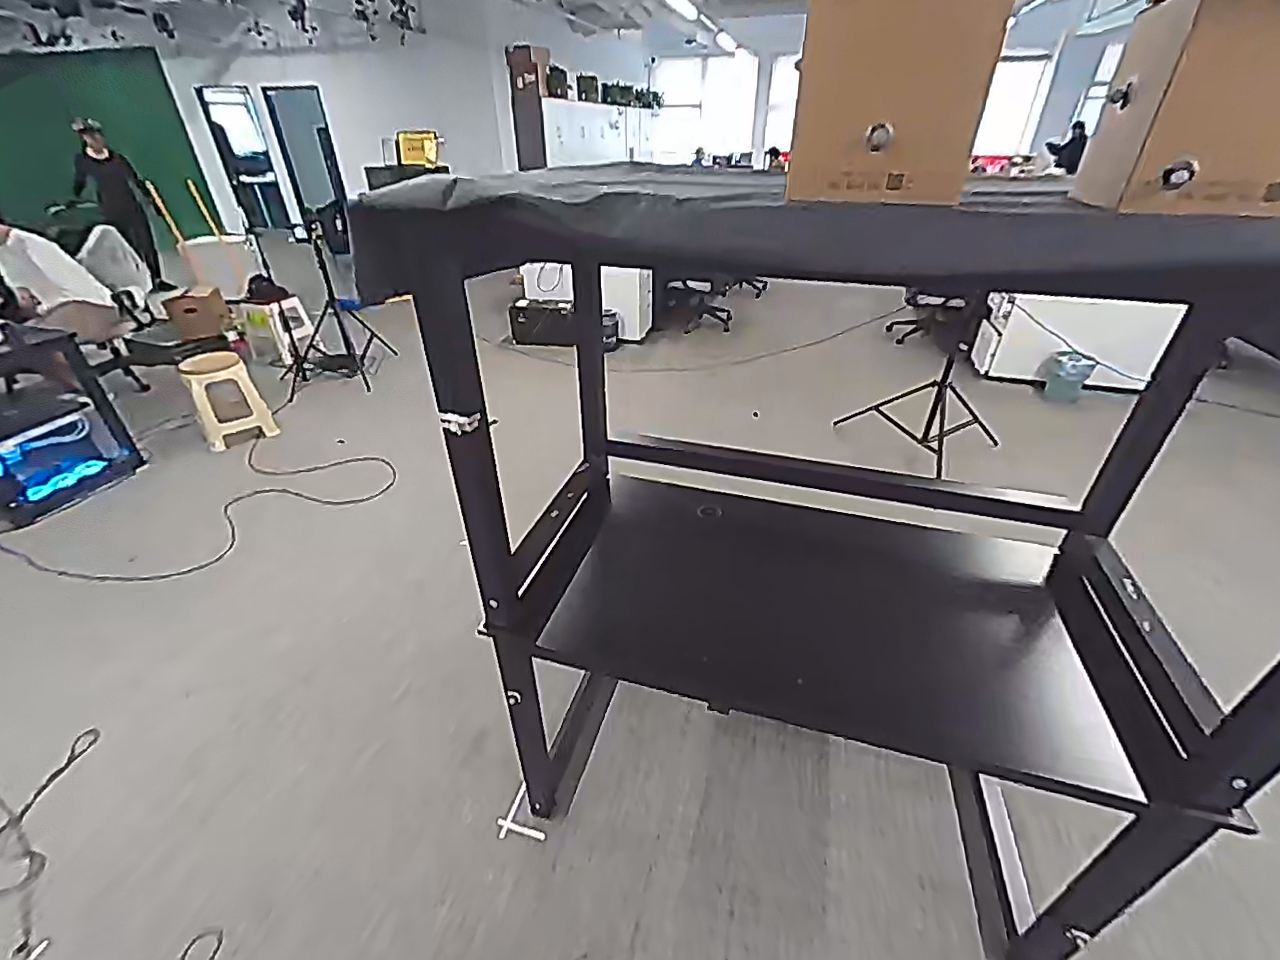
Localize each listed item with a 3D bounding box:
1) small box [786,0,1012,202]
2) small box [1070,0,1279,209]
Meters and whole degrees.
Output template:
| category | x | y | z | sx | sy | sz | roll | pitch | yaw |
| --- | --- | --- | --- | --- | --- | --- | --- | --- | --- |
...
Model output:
| category | x | y | z | sx | sy | sz | roll | pitch | yaw |
| --- | --- | --- | --- | --- | --- | --- | --- | --- | --- |
| small box | 0.252 | -0.392 | 0.563 | 0.168 | 0.176 | 0.179 | 9 | 32 | 15 |
| small box | 0.539 | -0.347 | 0.494 | 0.168 | 0.176 | 0.179 | 11 | 33 | 18 |
